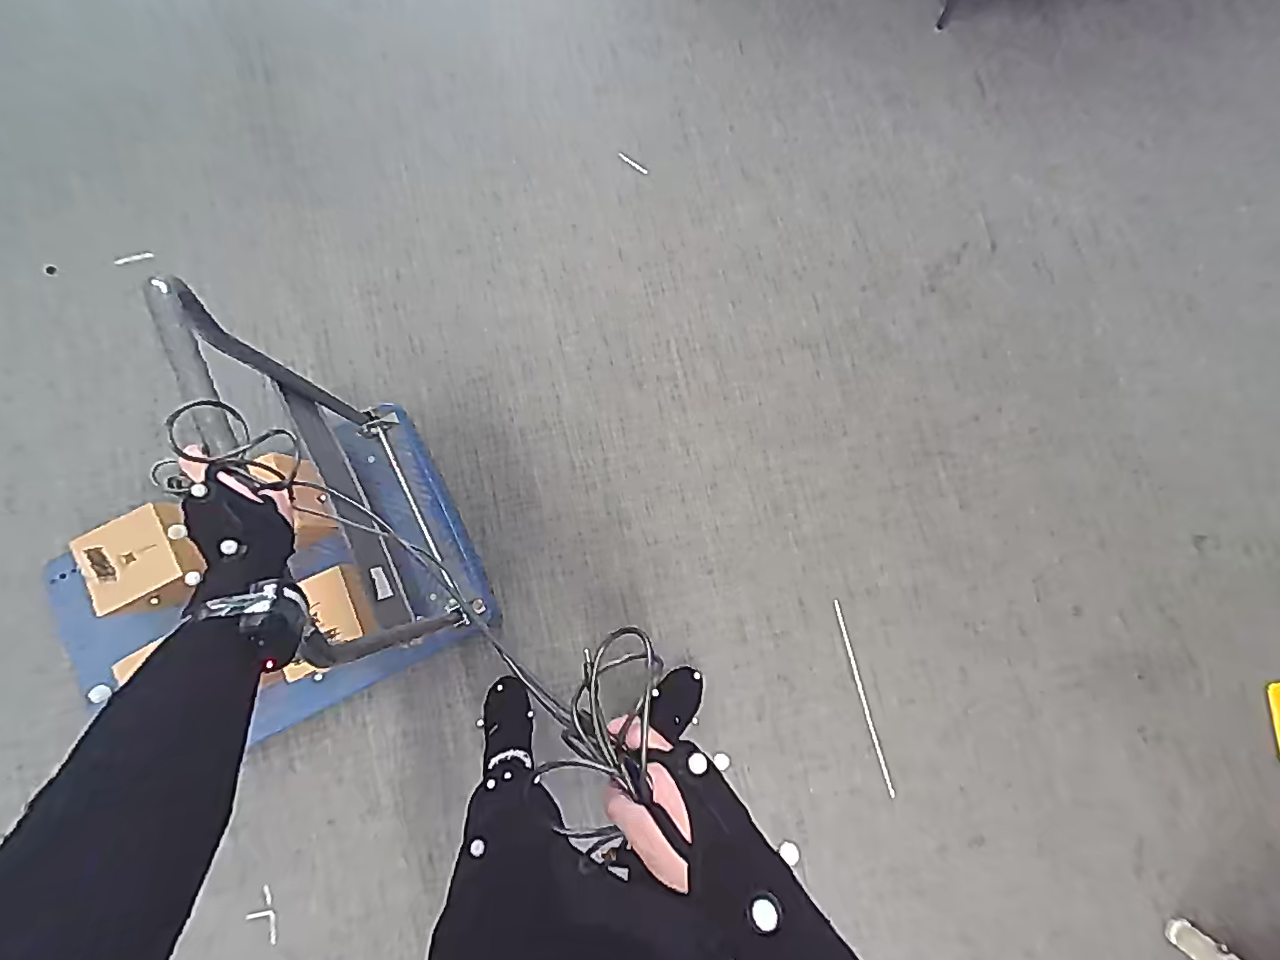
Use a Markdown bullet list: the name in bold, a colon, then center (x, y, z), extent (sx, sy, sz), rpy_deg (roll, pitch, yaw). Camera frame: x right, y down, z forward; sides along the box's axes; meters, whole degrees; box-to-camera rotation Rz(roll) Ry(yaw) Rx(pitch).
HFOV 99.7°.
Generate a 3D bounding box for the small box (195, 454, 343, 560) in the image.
- **small box**: center (-0.782, 0.064, 1.156), extent (0.179, 0.176, 0.168), rpy_deg (-24, 83, -4)

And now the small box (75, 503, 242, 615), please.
- **small box**: center (-1.003, 0.166, 1.141), extent (0.179, 0.176, 0.168), rpy_deg (-28, 84, -4)

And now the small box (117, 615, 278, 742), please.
- **small box**: center (-0.890, 0.393, 1.112), extent (0.179, 0.176, 0.168), rpy_deg (-30, 83, -4)
